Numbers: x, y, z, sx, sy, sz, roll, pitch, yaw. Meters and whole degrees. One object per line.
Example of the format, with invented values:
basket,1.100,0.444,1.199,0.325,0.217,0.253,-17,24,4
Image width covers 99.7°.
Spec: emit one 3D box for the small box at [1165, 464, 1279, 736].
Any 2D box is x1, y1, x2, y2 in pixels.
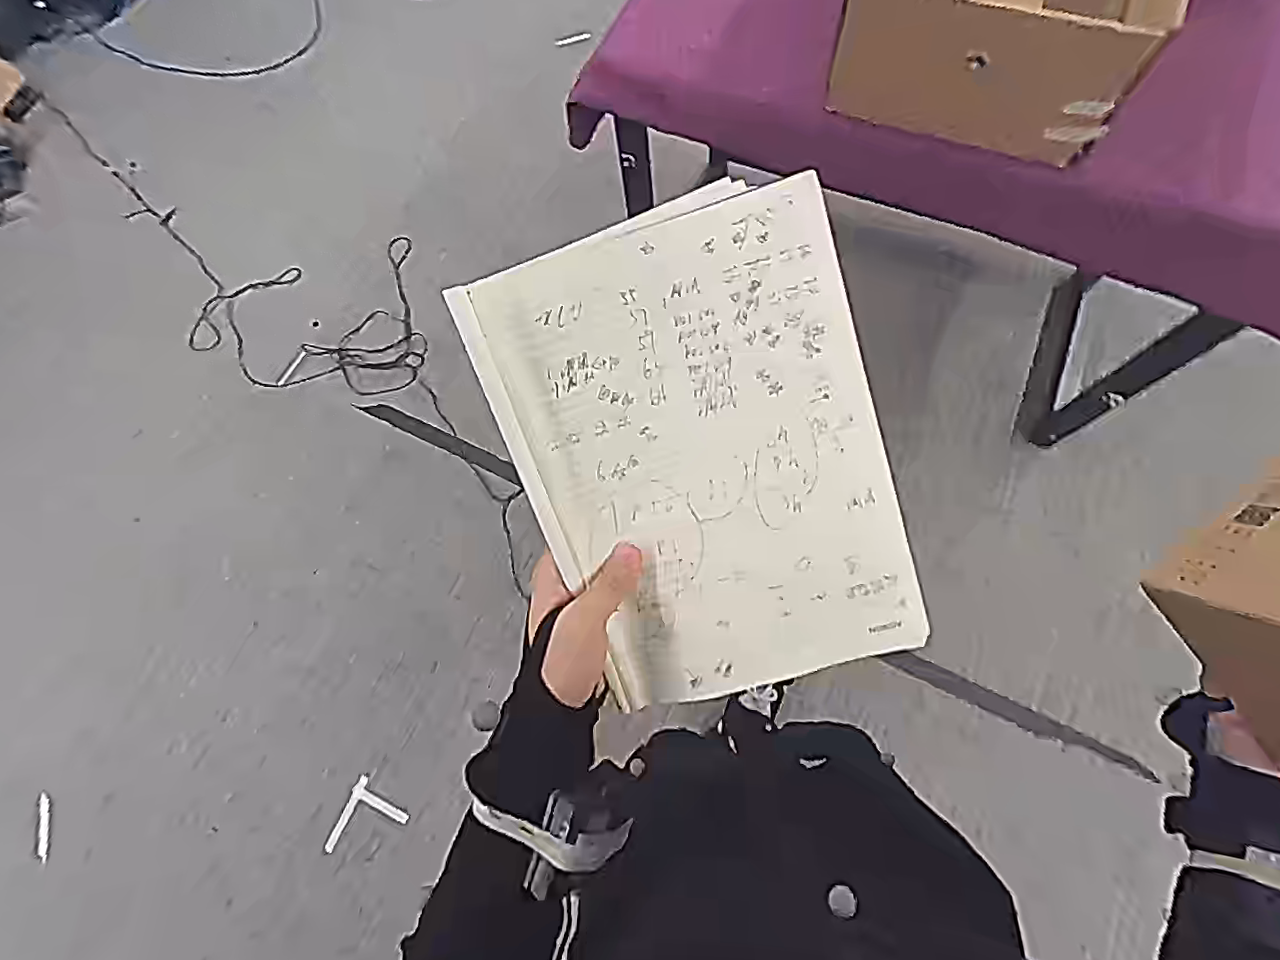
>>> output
small box,0.408,0.065,0.237,0.168,0.176,0.179,-43,98,2
